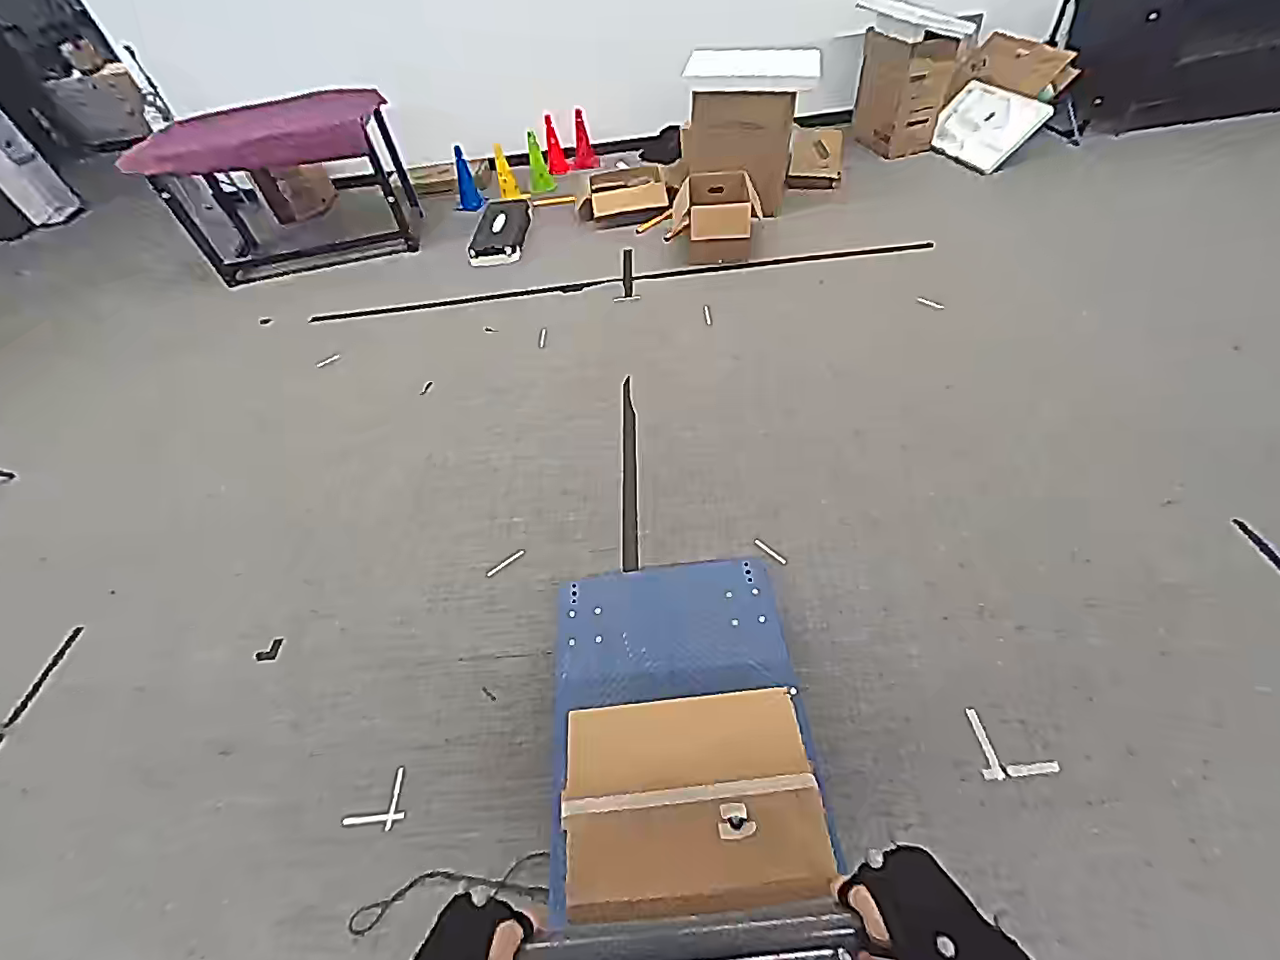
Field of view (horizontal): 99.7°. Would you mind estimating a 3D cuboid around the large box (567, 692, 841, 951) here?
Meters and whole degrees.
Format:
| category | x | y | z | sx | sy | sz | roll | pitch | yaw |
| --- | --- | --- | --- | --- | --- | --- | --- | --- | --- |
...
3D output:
| category | x | y | z | sx | sy | sz | roll | pitch | yaw |
| --- | --- | --- | --- | --- | --- | --- | --- | --- | --- |
| large box | 0.091 | 0.619 | 0.978 | 0.408 | 0.320 | 0.320 | -7 | 47 | 1 |
